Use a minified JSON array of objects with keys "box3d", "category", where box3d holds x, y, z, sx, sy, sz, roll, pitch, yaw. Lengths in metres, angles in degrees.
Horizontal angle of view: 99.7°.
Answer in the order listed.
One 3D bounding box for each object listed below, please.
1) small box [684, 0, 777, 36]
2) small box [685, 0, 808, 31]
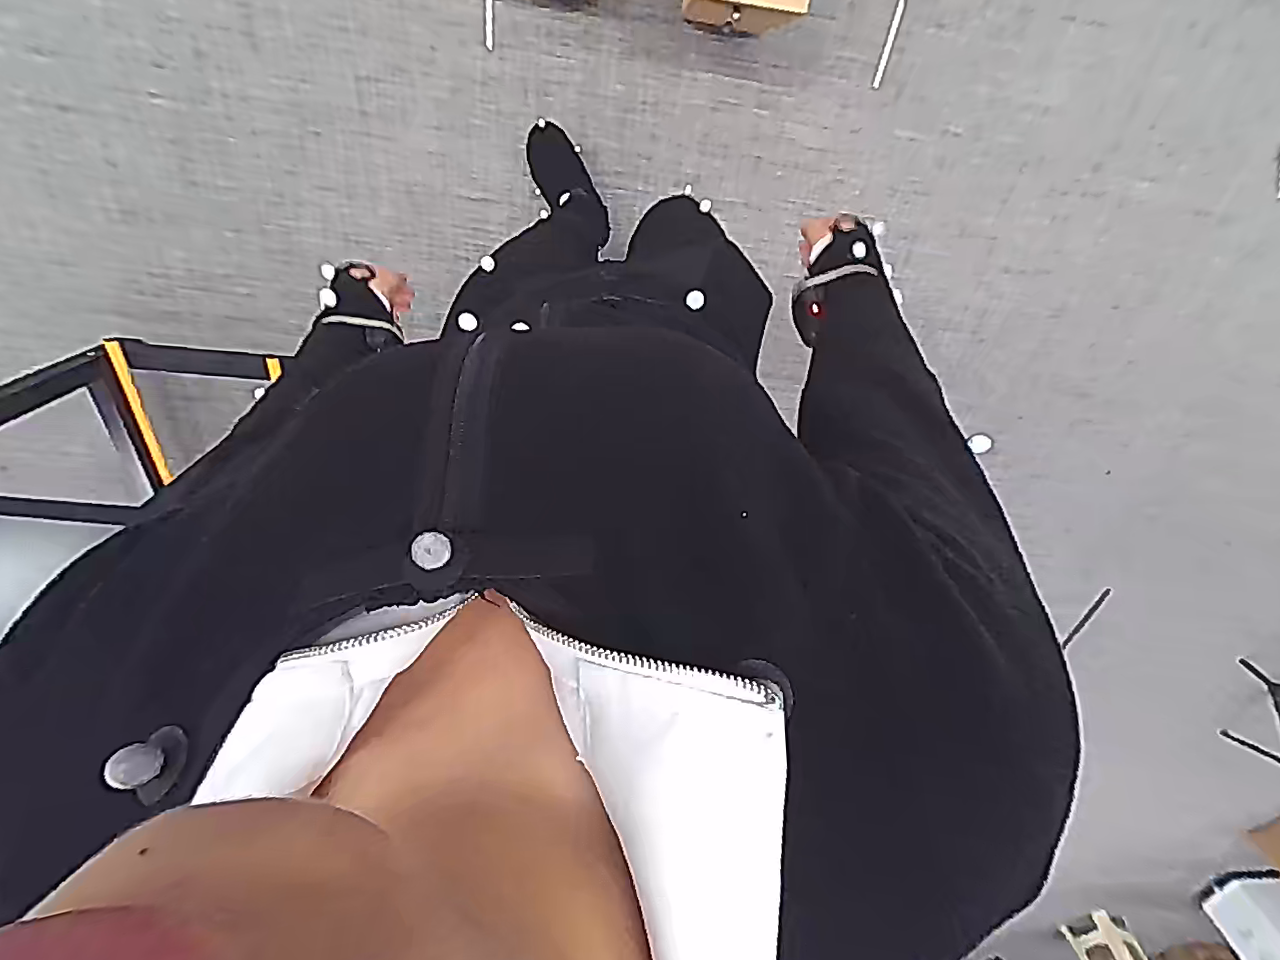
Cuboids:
[{"box3d":[0.178,-0.924,0.965,0.168,0.176,0.179,7,124,-7],"category":"small box"},{"box3d":[0.172,-0.819,0.835,0.179,0.176,0.168,5,124,-6],"category":"small box"}]
